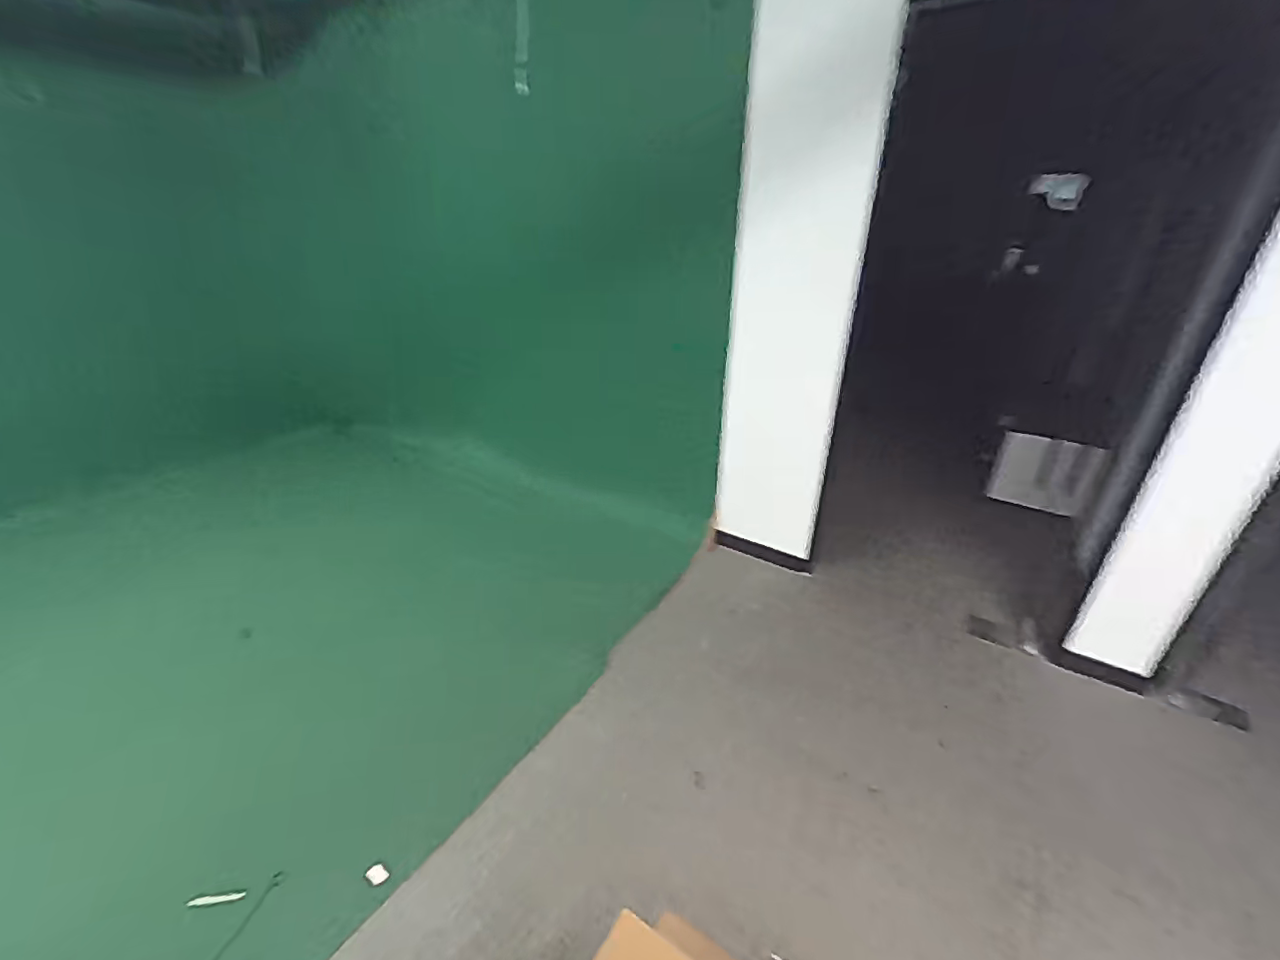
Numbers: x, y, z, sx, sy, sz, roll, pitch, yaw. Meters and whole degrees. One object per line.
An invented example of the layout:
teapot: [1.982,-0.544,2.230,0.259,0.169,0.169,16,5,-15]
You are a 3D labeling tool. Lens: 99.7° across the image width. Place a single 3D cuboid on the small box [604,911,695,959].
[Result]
small box: [0.007,0.757,0.732,0.168,0.176,0.179,18,36,29]
